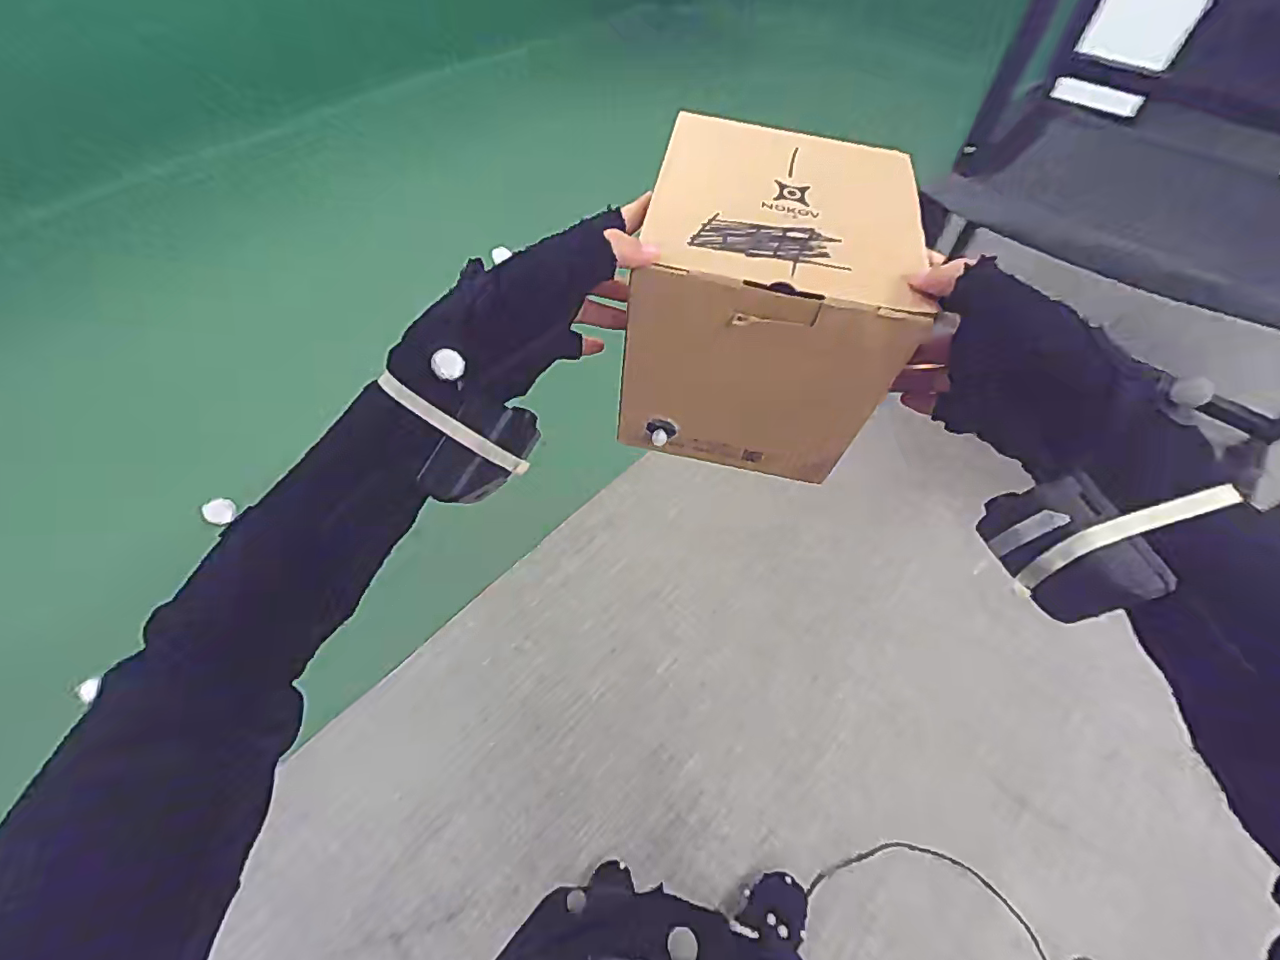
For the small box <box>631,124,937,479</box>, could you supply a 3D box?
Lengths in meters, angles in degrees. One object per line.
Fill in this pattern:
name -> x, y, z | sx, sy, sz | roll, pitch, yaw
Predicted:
small box -> 0.090, -0.124, 0.403 | 0.168, 0.176, 0.179 | 12, 57, 2
